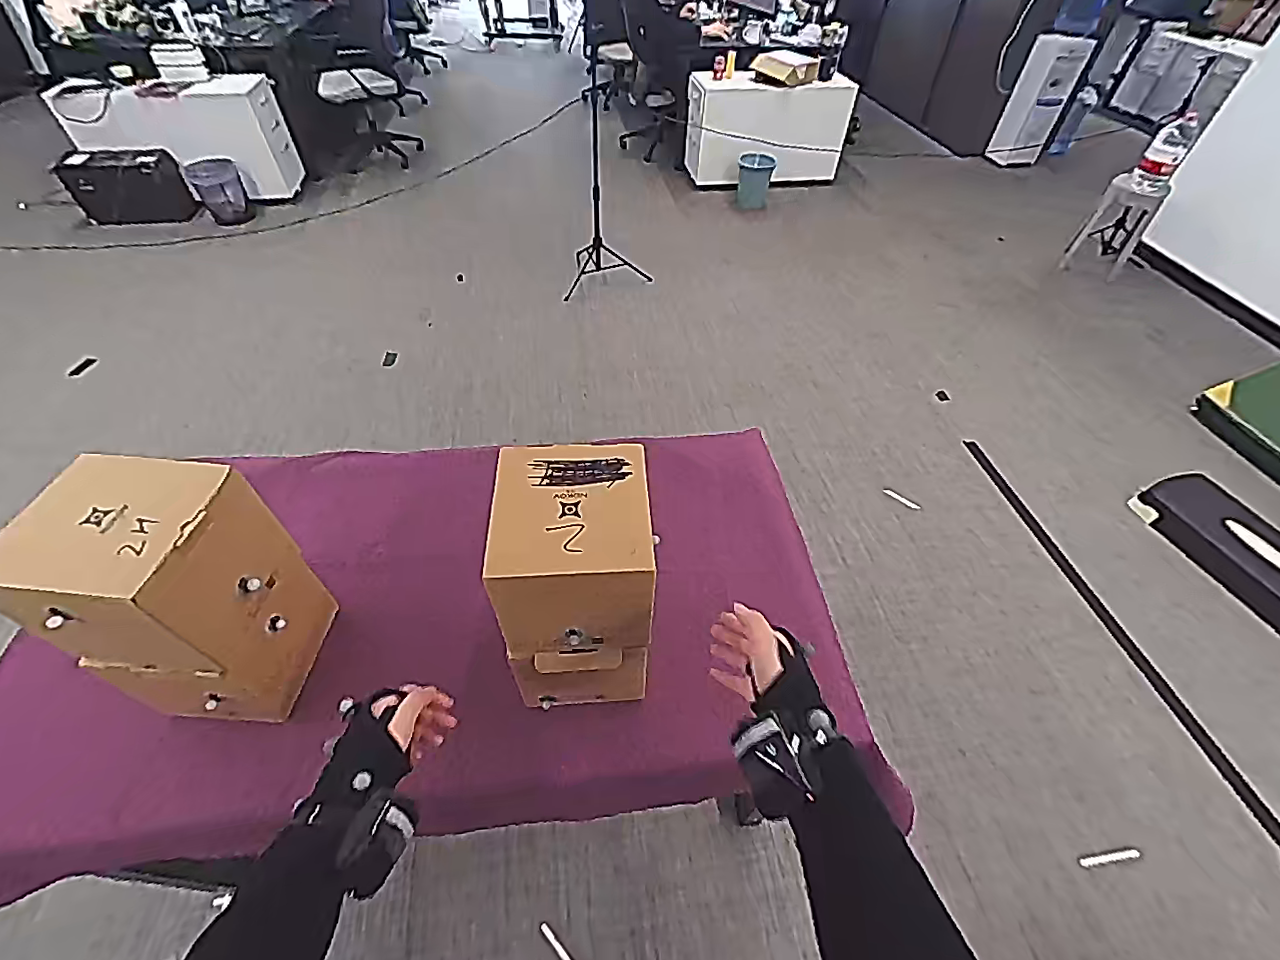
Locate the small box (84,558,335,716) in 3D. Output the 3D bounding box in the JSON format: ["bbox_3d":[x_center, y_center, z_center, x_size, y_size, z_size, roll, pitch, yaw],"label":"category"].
[{"bbox_3d":[-0.546,0.199,0.724,0.168,0.176,0.179,5,48,1],"label":"small box"}]

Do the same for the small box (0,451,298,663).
[{"bbox_3d":[-0.535,0.089,0.602,0.179,0.176,0.168,6,50,1],"label":"small box"}]

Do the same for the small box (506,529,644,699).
[{"bbox_3d":[-0.082,0.190,0.747,0.168,0.176,0.179,-2,48,-4],"label":"small box"}]
